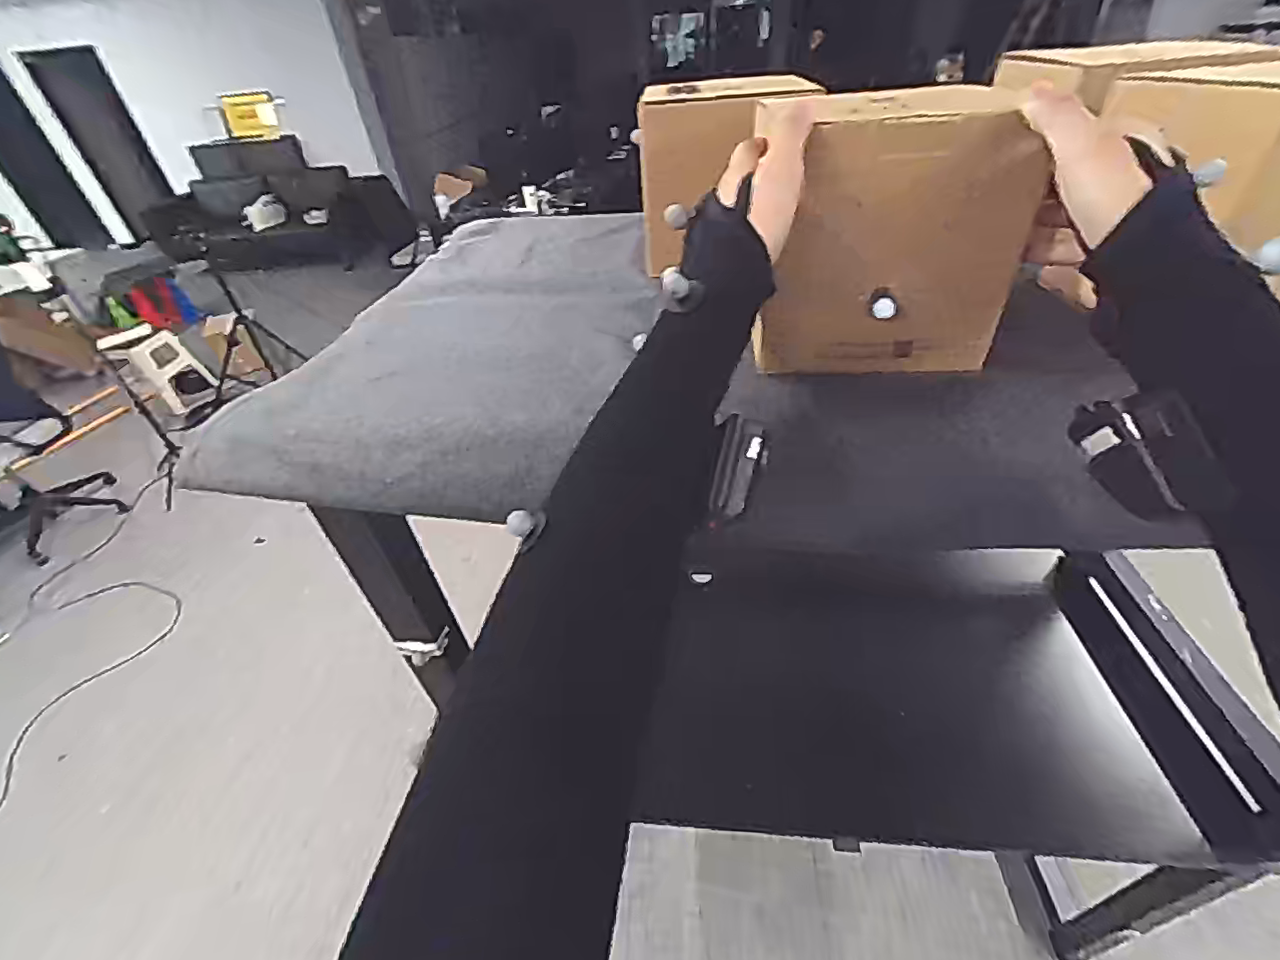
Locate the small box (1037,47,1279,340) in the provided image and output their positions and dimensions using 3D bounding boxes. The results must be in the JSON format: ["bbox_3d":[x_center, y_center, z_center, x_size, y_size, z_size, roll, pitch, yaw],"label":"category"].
[{"bbox_3d":[0.446,-0.211,0.401,0.168,0.176,0.179,0,37,7],"label":"small box"}]

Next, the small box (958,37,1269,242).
[{"bbox_3d":[0.483,-0.371,0.596,0.168,0.176,0.179,-1,38,6],"label":"small box"}]
